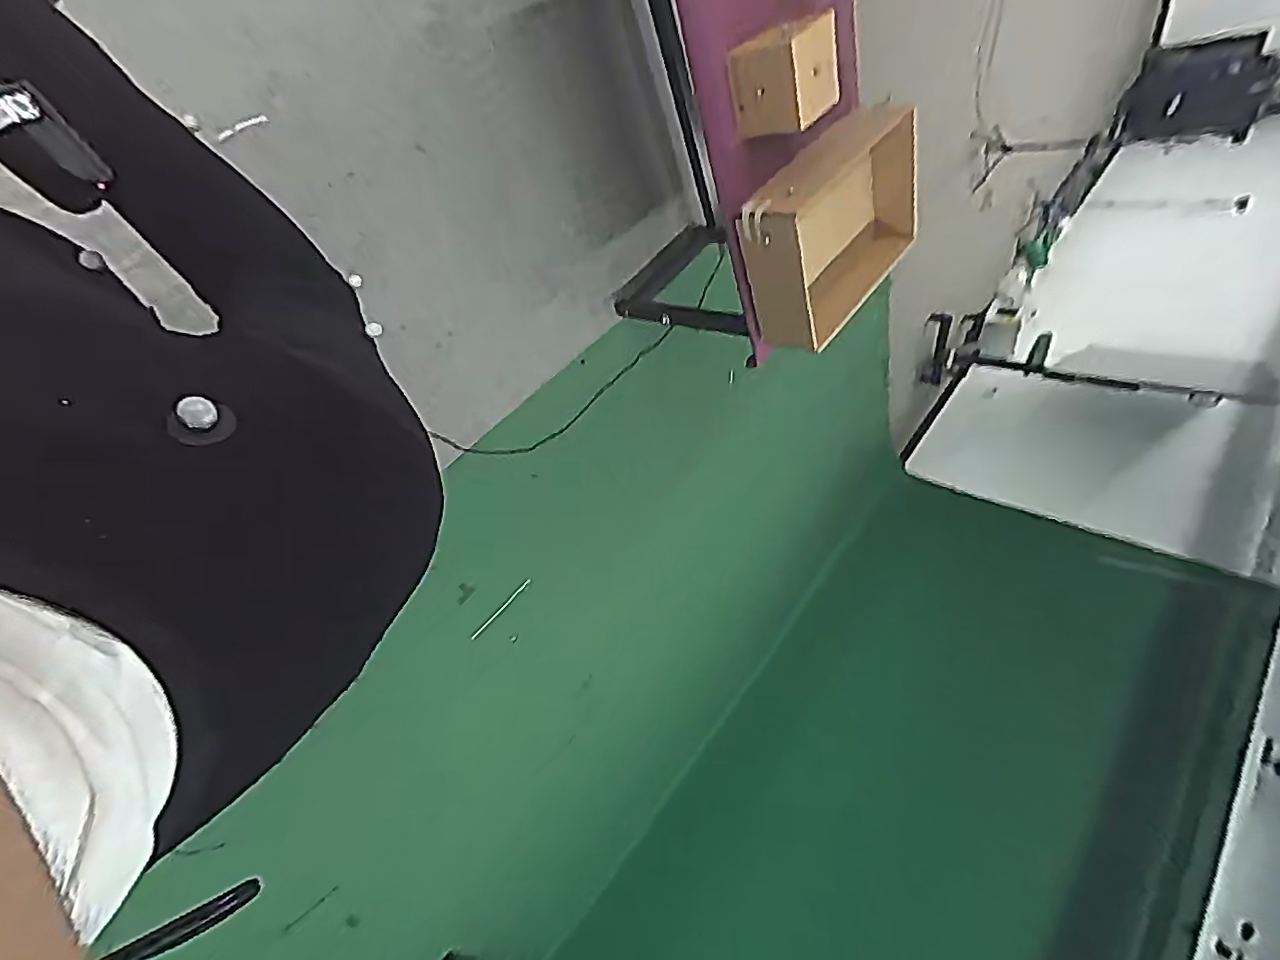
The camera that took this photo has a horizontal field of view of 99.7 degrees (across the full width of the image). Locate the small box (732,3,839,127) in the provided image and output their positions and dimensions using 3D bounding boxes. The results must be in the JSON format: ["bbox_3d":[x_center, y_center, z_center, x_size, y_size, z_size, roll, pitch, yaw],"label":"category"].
[{"bbox_3d":[0.319,-0.914,1.203,0.179,0.176,0.168,-47,138,-22],"label":"small box"}]
